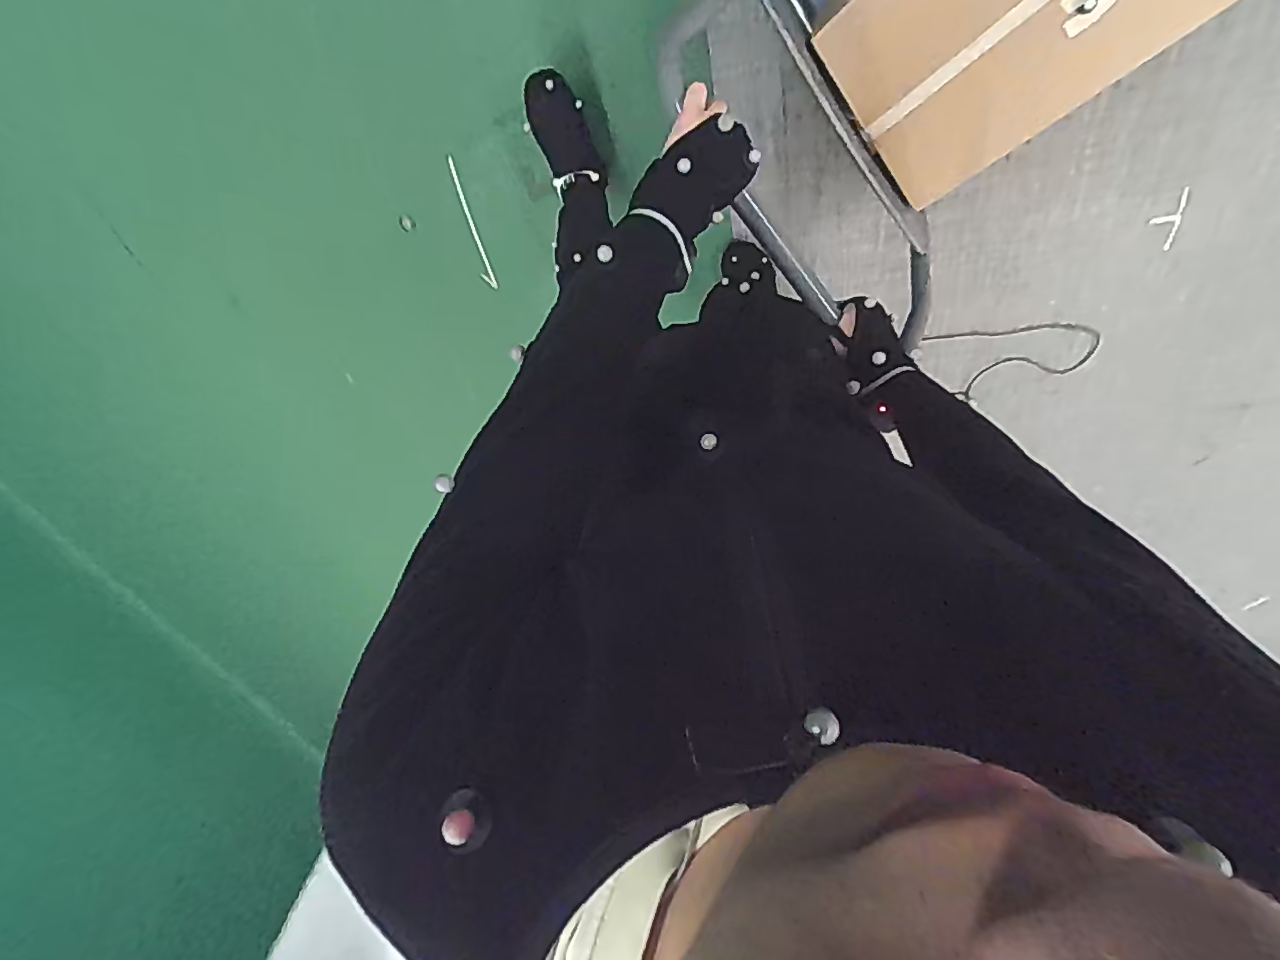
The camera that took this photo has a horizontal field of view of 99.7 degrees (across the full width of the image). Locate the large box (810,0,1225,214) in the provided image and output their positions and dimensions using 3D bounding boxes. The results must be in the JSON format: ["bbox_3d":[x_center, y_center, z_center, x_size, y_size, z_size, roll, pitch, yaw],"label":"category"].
[{"bbox_3d":[0.525,-0.715,0.833,0.408,0.320,0.320,-27,121,39],"label":"large box"}]
